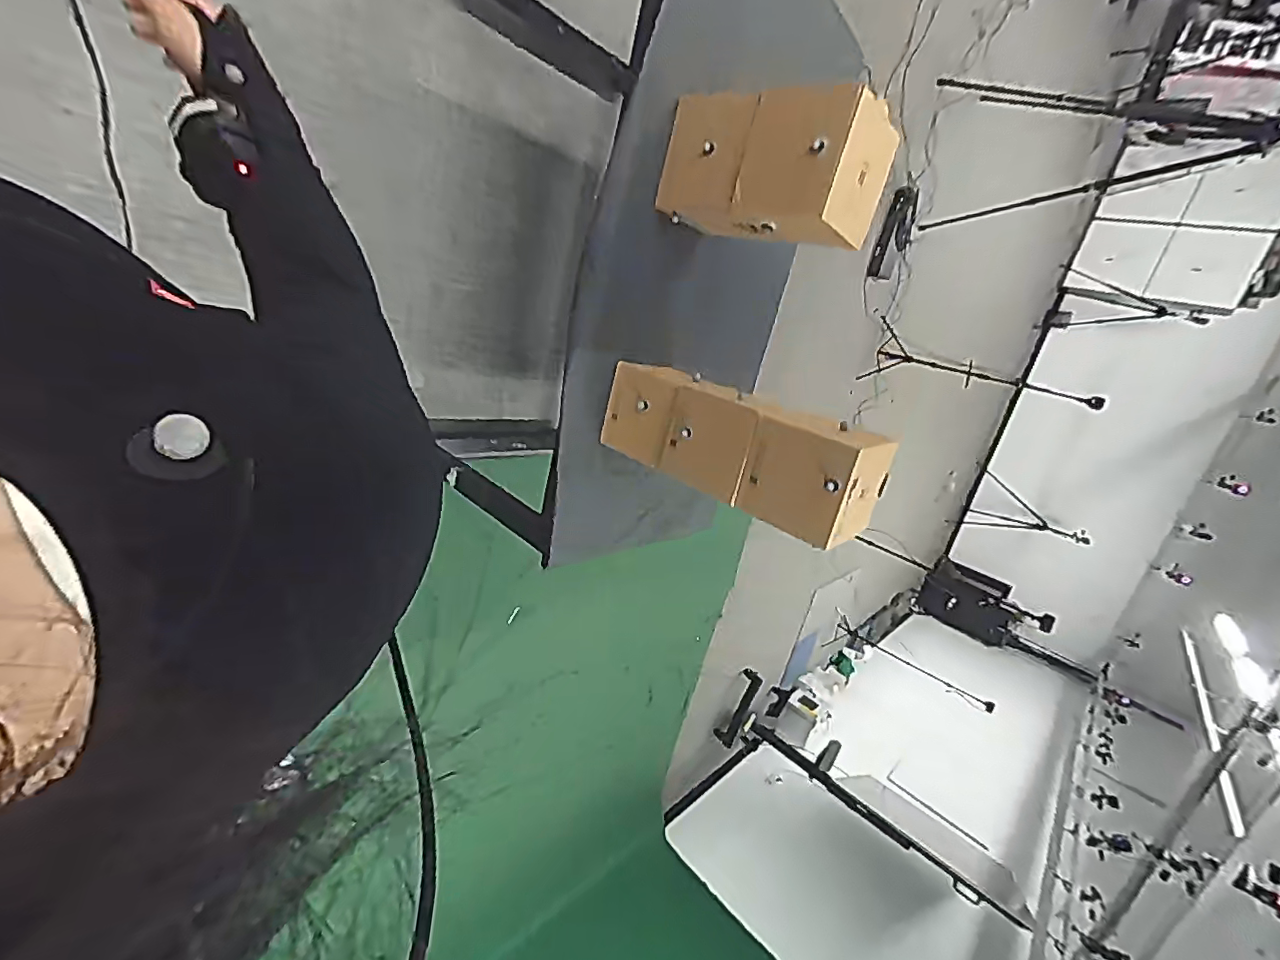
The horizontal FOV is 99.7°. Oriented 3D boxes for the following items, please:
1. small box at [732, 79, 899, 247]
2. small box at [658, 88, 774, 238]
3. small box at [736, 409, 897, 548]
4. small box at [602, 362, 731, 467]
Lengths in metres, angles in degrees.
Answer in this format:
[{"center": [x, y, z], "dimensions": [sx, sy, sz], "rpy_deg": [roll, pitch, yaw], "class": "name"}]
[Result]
[{"center": [0.269, -0.487, 0.847], "dimensions": [0.168, 0.176, 0.179], "rpy_deg": [-3, 115, -49], "class": "small box"}, {"center": [0.154, -0.545, 0.946], "dimensions": [0.168, 0.176, 0.179], "rpy_deg": [-5, 115, -49], "class": "small box"}, {"center": [0.285, -0.014, 0.882], "dimensions": [0.179, 0.176, 0.168], "rpy_deg": [-11, 120, -48], "class": "small box"}, {"center": [0.048, -0.132, 1.076], "dimensions": [0.179, 0.176, 0.168], "rpy_deg": [-7, 117, -49], "class": "small box"}]
